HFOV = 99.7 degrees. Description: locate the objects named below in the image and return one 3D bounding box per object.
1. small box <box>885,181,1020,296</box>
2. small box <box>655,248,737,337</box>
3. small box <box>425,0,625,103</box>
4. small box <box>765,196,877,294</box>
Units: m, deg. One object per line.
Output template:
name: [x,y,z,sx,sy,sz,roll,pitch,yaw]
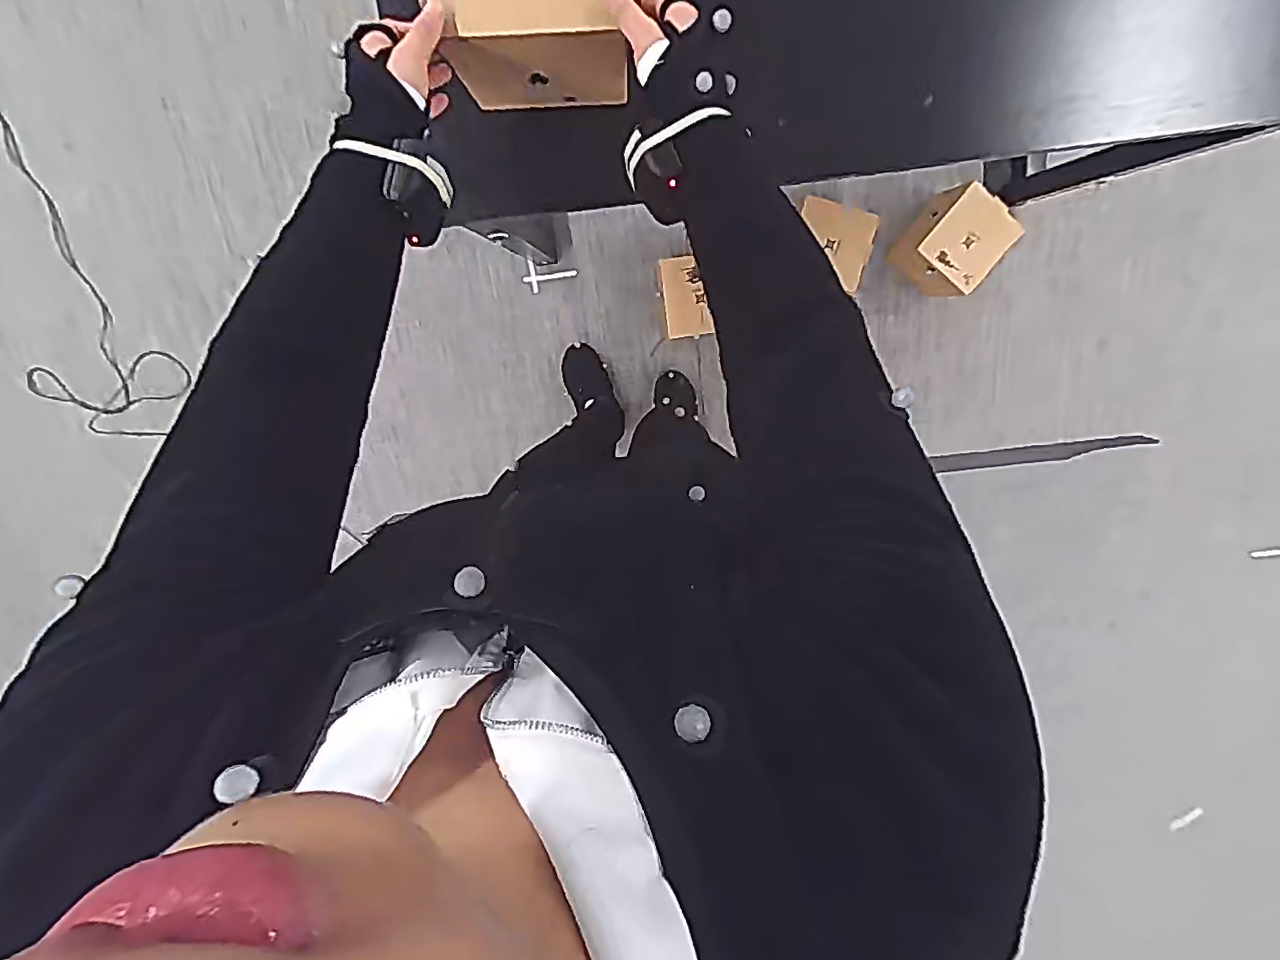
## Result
small box: [0.716,-0.553,1.262,0.168,0.176,0.179,35,103,-10]
small box: [0.129,-0.442,1.289,0.168,0.176,0.179,-7,108,2]
small box: [-0.100,-0.481,0.509,0.168,0.176,0.179,-3,106,-1]
small box: [0.413,-0.540,1.264,0.179,0.176,0.168,14,106,-4]
